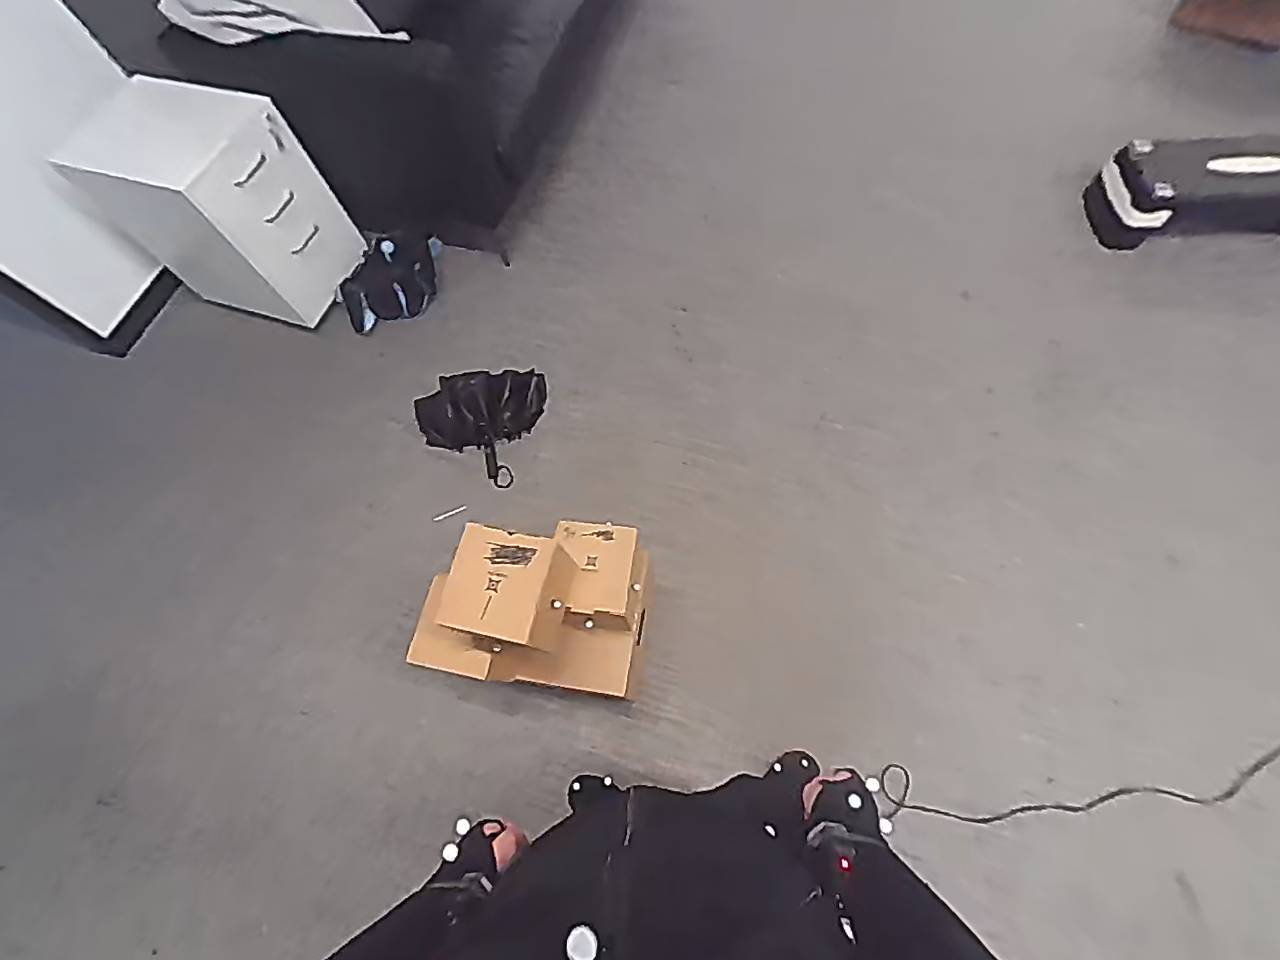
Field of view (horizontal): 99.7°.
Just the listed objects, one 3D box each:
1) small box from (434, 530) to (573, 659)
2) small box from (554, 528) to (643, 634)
[{"bbox_3d":[-0.228,0.208,0.959,0.168,0.176,0.179,10,69,11],"label":"small box"},{"bbox_3d":[-0.089,0.215,1.123,0.168,0.176,0.179,5,66,8],"label":"small box"}]
